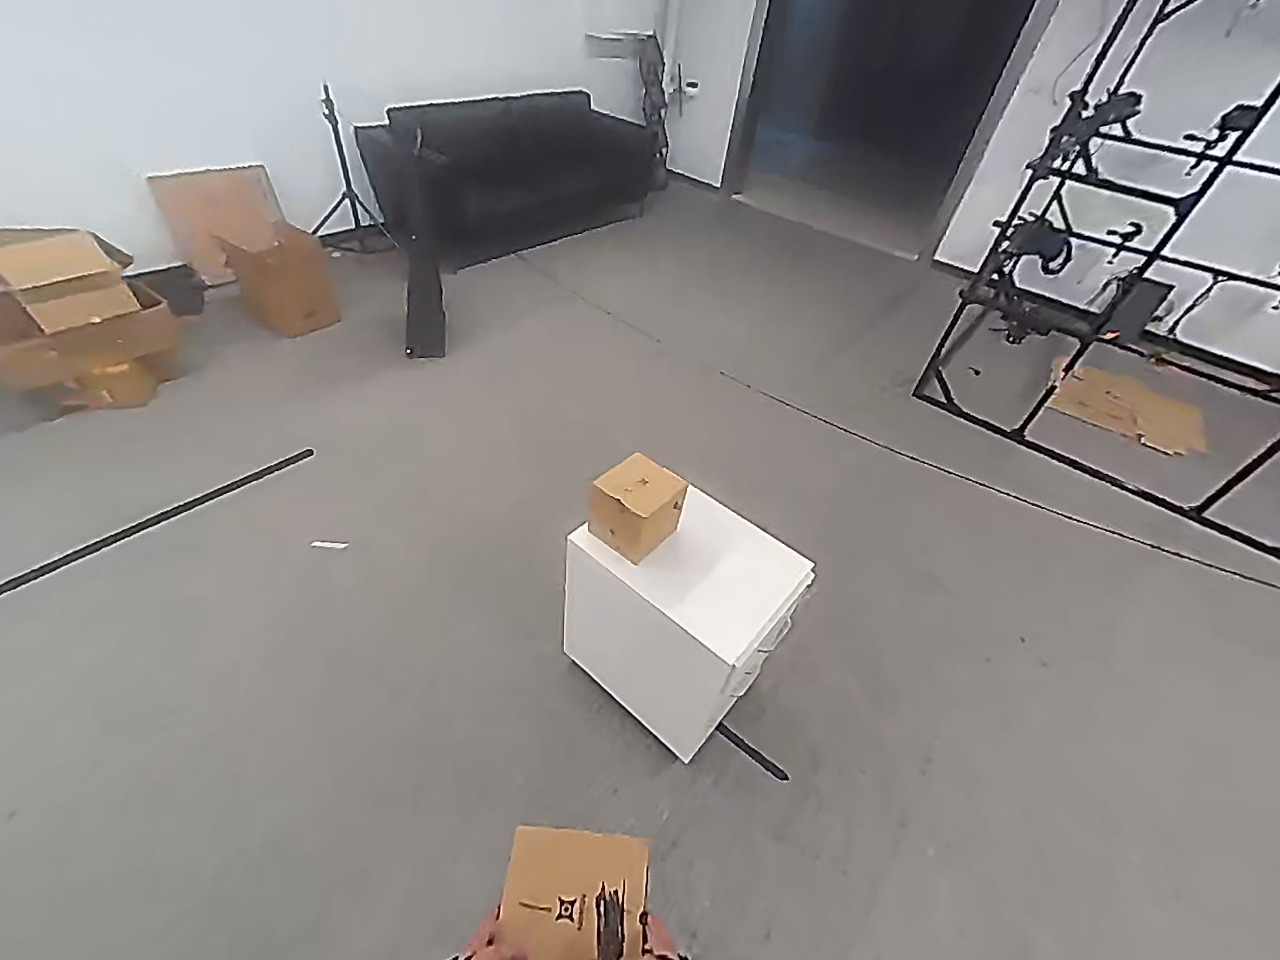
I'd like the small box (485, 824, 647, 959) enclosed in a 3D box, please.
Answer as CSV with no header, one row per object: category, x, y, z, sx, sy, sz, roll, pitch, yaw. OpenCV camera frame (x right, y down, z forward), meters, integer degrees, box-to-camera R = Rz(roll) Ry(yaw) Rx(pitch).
small box,-0.085,0.559,0.697,0.179,0.176,0.168,4,49,3

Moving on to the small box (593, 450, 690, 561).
small box,-0.003,0.063,1.339,0.168,0.176,0.179,33,48,24
